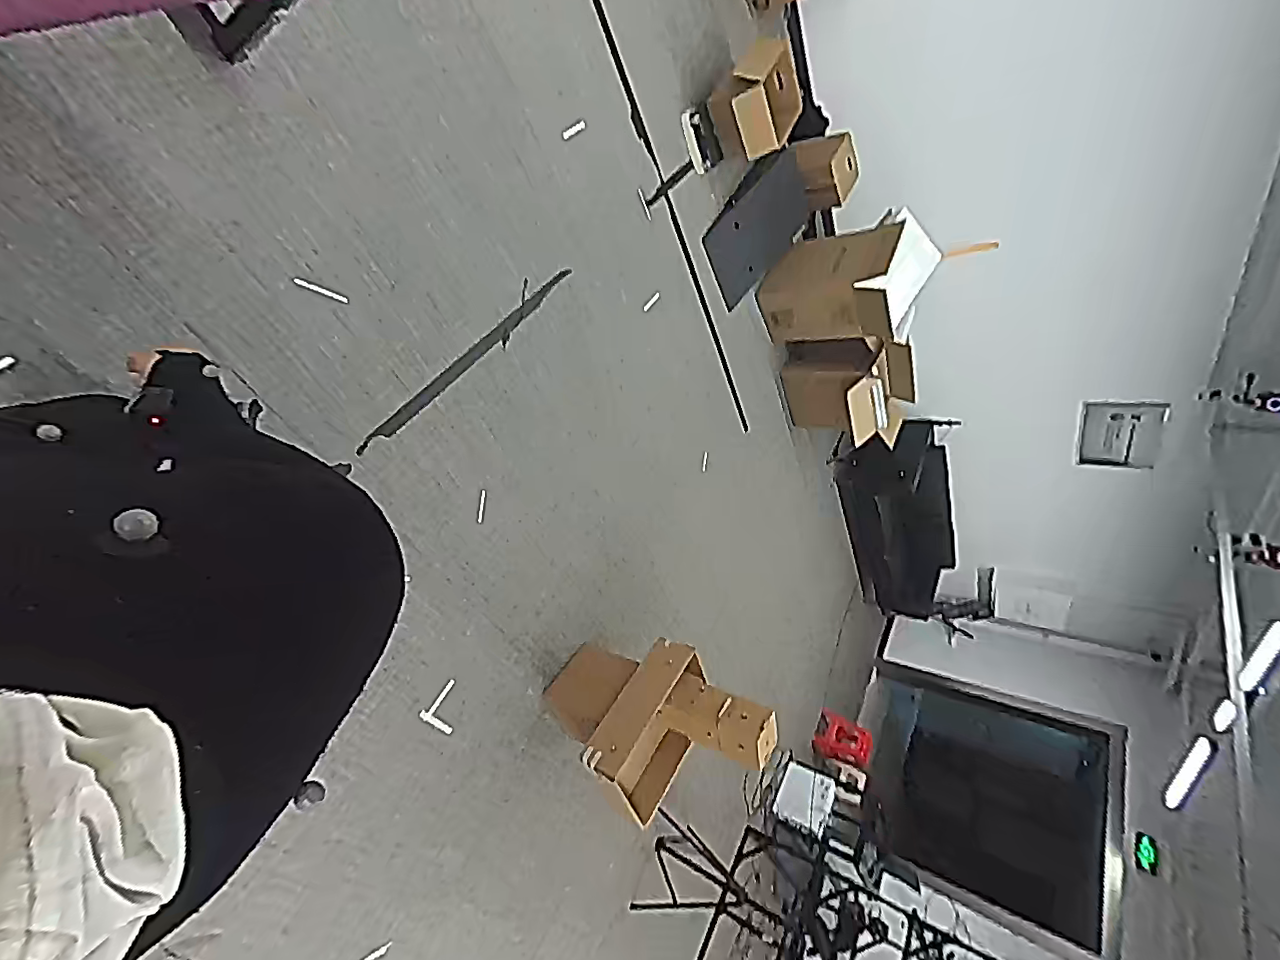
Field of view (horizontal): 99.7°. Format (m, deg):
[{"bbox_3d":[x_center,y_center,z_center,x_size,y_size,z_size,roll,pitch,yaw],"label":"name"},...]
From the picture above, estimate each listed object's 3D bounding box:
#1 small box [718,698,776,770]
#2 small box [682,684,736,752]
[{"bbox_3d":[0.416,0.978,2.106,0.168,0.176,0.179,-35,123,-44],"label":"small box"},{"bbox_3d":[0.288,0.962,2.209,0.168,0.176,0.179,-40,127,-42],"label":"small box"}]
